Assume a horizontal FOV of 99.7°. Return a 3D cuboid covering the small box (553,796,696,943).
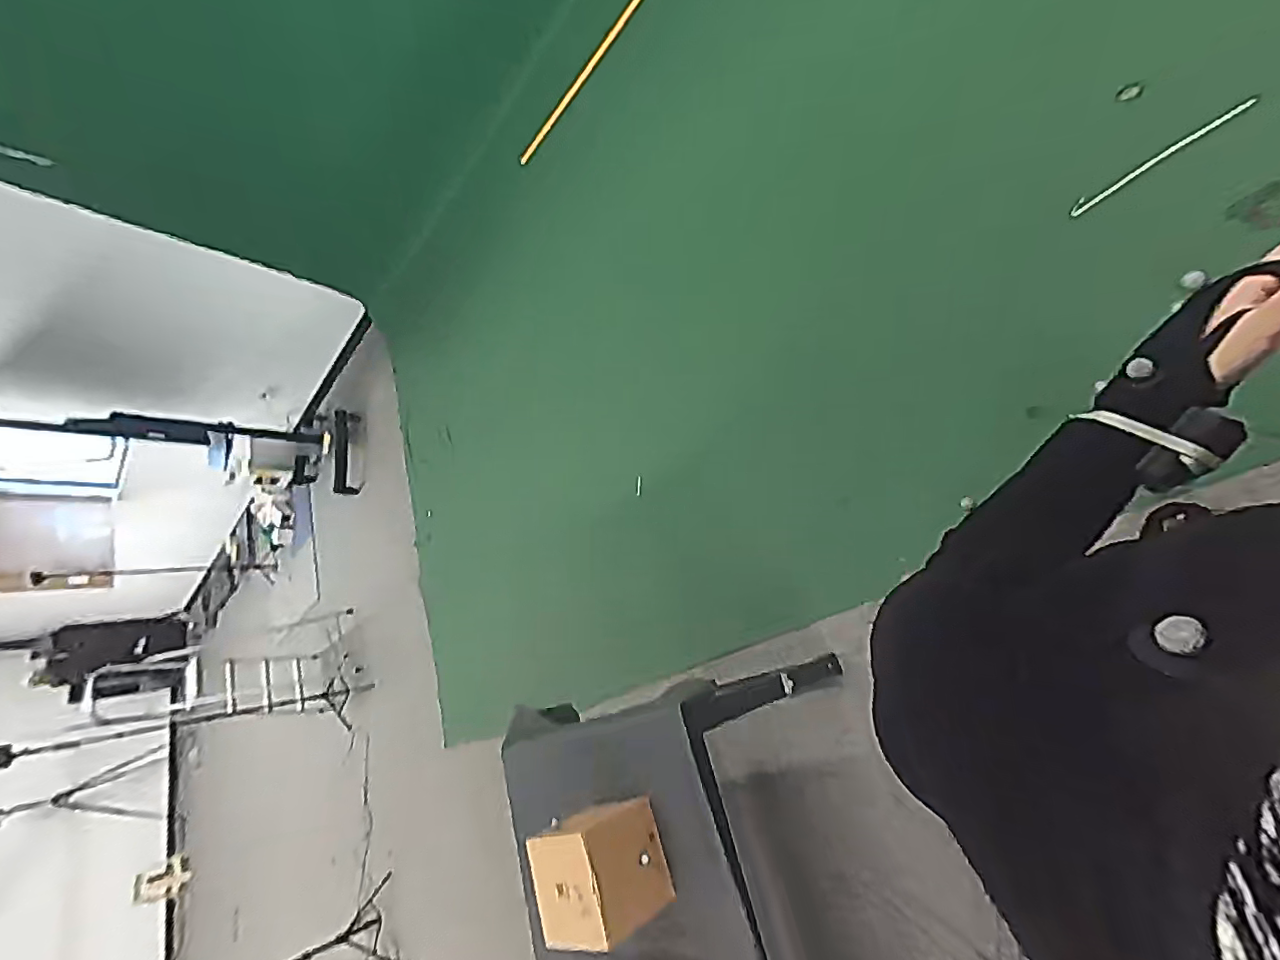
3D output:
[{"bbox_3d":[-0.029,0.701,0.987,0.179,0.176,0.168,-36,63,36],"label":"small box"}]
